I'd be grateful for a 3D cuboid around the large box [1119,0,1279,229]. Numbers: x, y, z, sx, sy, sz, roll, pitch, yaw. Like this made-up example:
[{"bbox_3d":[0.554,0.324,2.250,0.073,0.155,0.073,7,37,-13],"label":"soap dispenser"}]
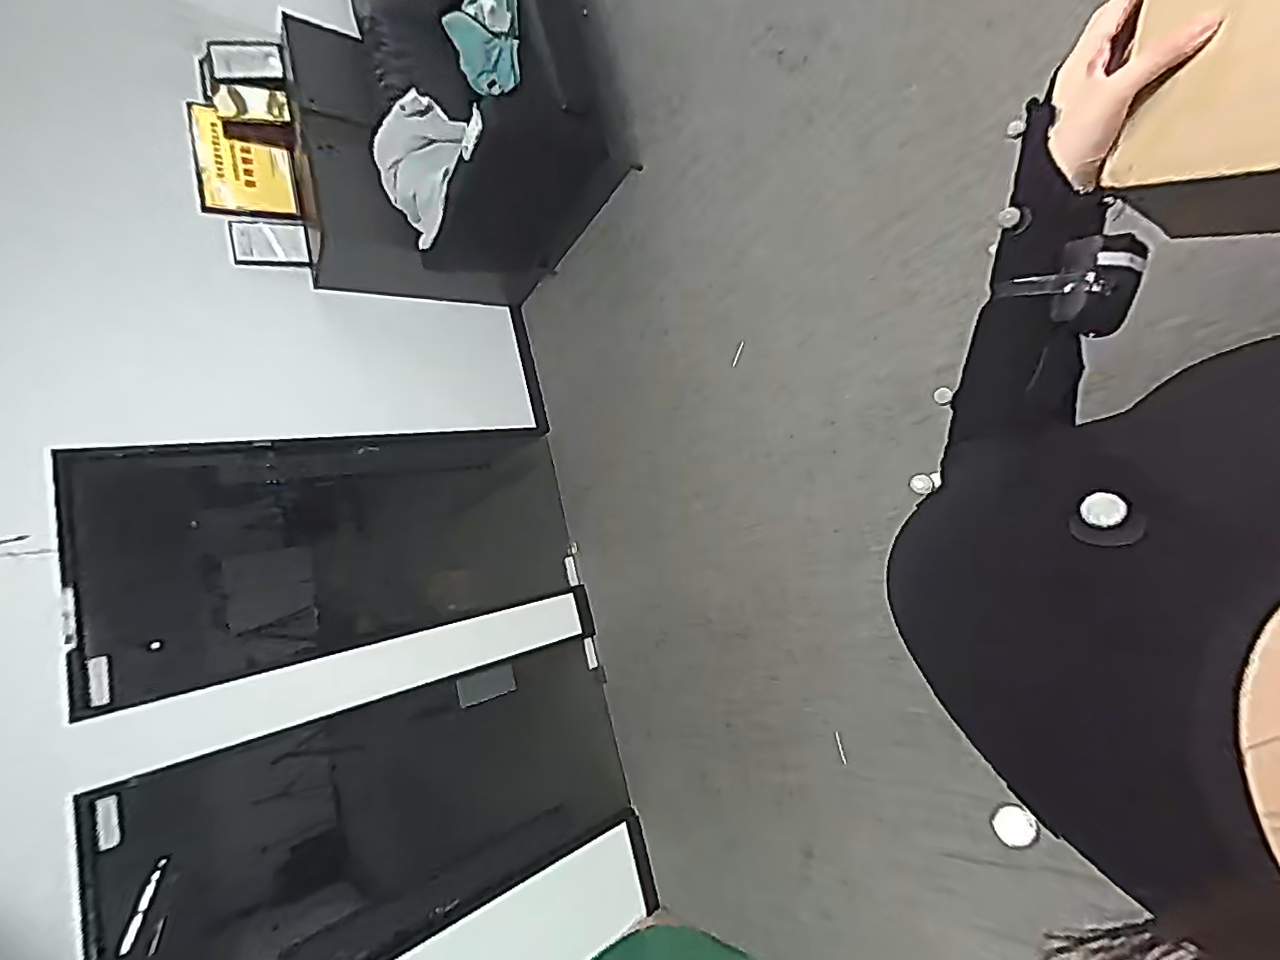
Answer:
[{"bbox_3d":[0.583,-0.347,0.299,0.408,0.320,0.320,19,114,45],"label":"large box"}]
